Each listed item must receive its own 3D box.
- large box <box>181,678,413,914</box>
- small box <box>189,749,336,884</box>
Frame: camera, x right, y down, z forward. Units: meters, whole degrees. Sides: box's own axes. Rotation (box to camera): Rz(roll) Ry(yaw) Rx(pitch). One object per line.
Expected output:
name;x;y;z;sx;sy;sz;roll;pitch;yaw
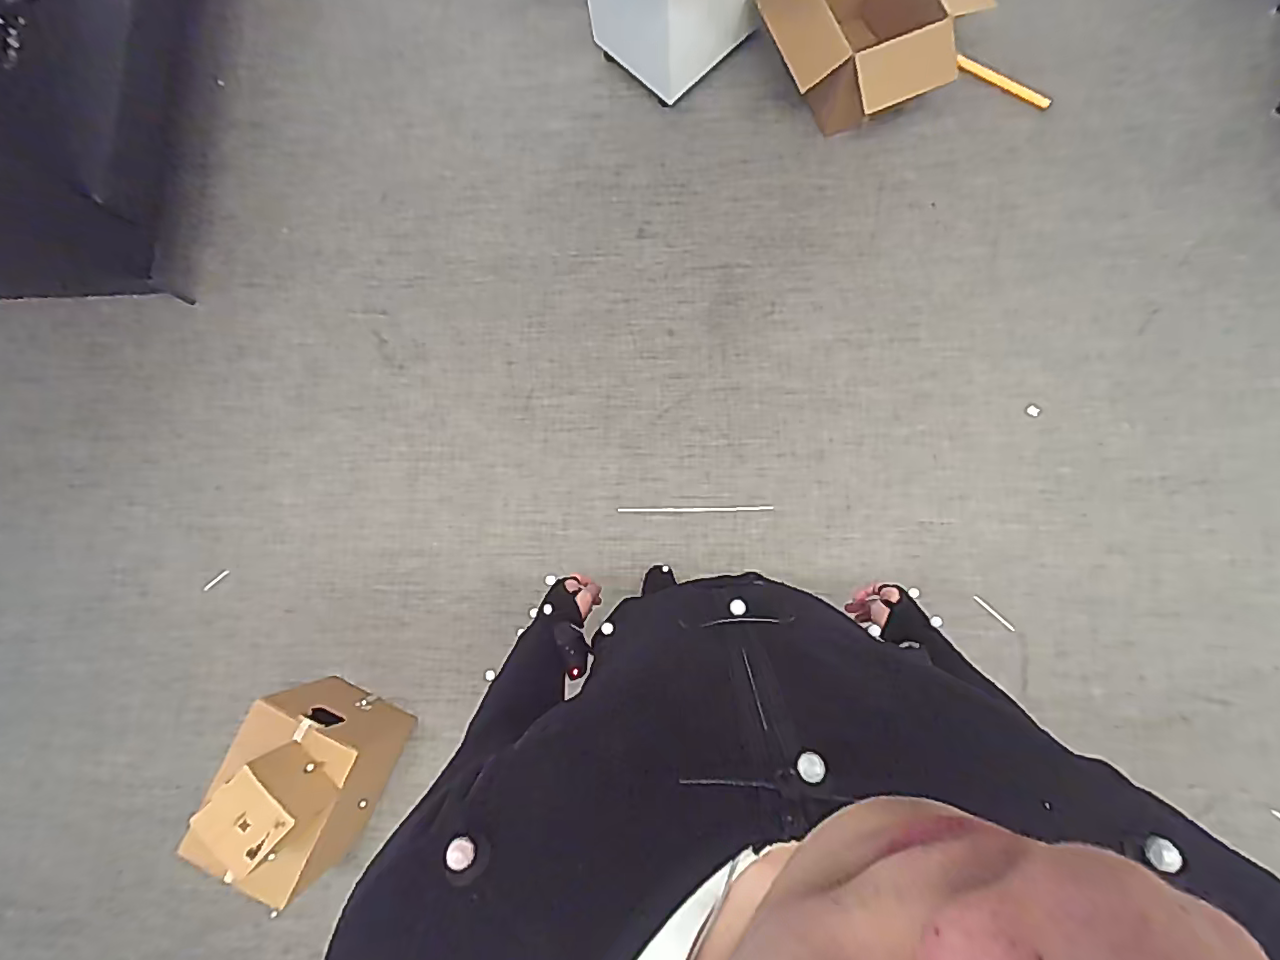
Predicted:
large box;-0.894;0.815;1.467;0.320;0.320;0.408;23;83;8
small box;-0.844;0.744;1.225;0.179;0.176;0.168;43;85;8
